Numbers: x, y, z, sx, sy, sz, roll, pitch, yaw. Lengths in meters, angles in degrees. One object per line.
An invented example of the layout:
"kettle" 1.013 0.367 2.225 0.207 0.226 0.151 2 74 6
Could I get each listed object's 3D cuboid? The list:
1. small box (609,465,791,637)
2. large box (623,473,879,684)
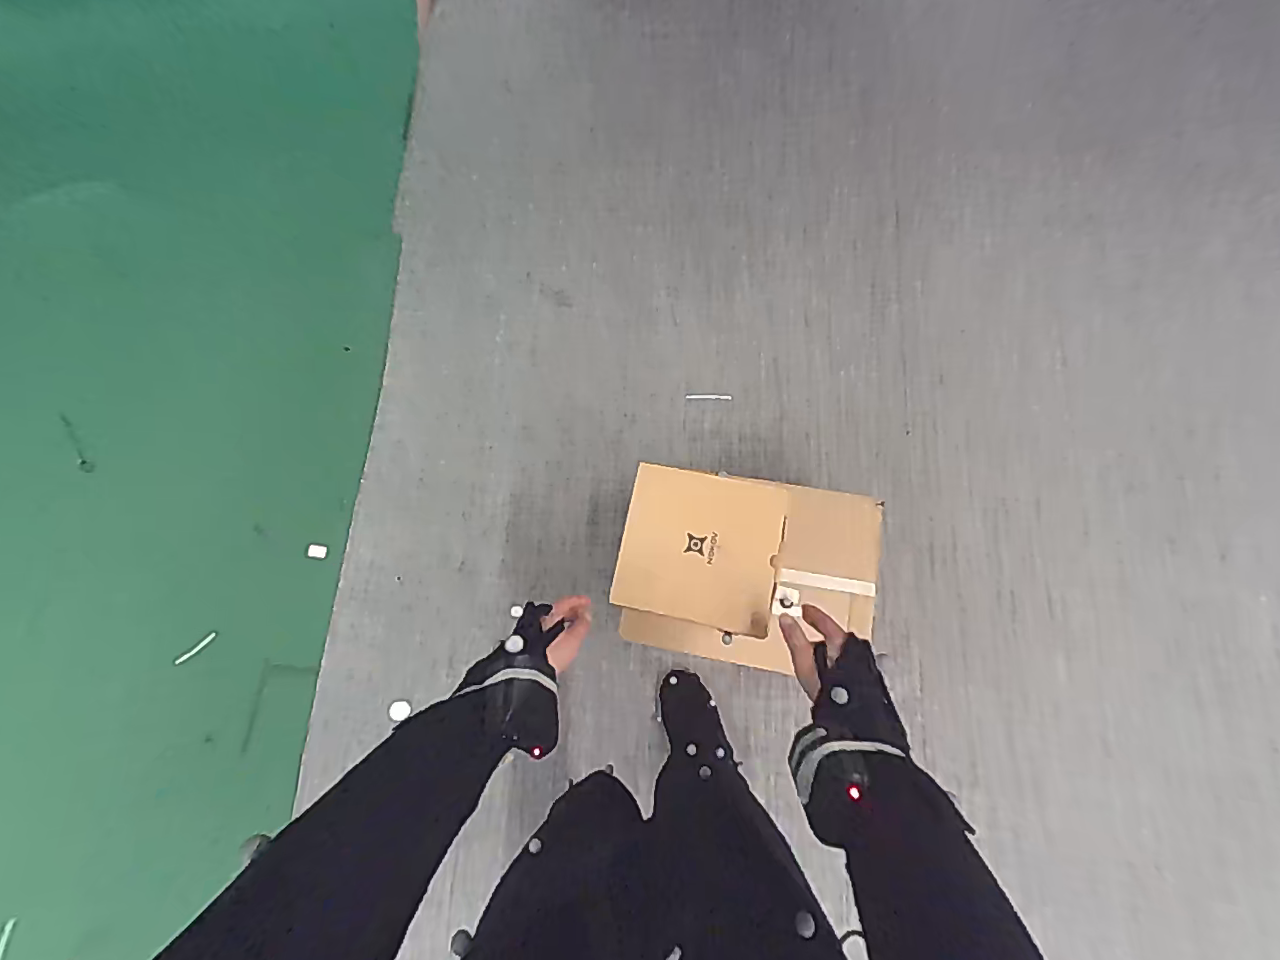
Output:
"small box" 0.075 0.095 0.670 0.179 0.176 0.168 10 76 9
"large box" 0.201 0.186 1.051 0.408 0.320 0.320 8 78 8
